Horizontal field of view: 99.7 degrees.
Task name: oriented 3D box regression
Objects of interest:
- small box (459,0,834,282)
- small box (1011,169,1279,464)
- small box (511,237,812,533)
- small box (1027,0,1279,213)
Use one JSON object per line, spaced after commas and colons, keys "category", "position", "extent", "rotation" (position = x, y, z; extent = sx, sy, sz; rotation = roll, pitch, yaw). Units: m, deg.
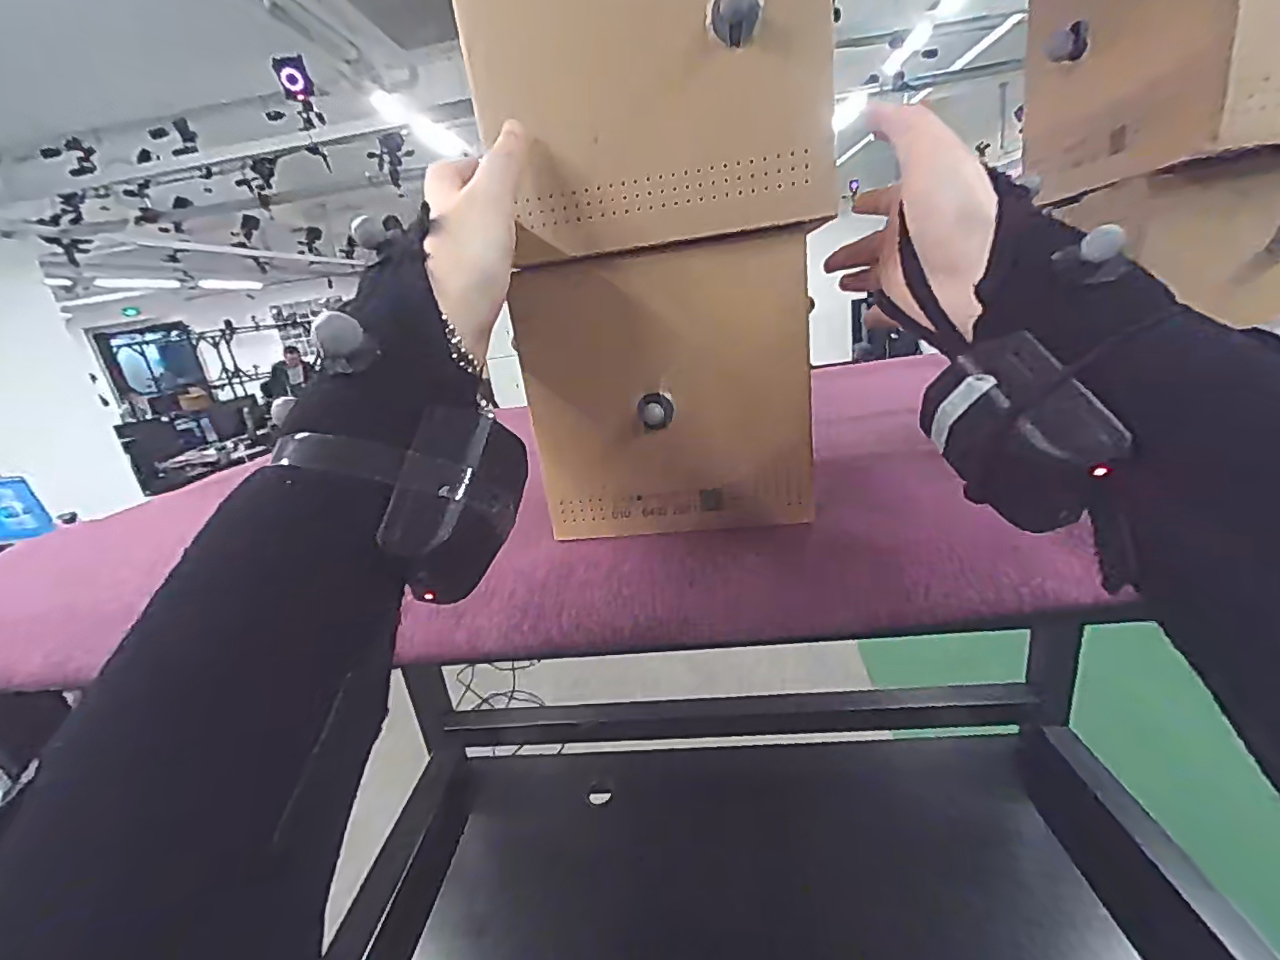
{"category": "small box", "position": [0.015, -0.216, 0.328], "extent": [0.179, 0.176, 0.168], "rotation": [-6, 18, 9]}
{"category": "small box", "position": [0.387, -0.113, 0.373], "extent": [0.179, 0.176, 0.168], "rotation": [-4, 17, 13]}
{"category": "small box", "position": [0.027, -0.067, 0.393], "extent": [0.168, 0.176, 0.179], "rotation": [-4, 18, 9]}
{"category": "small box", "position": [0.360, -0.262, 0.313], "extent": [0.179, 0.176, 0.168], "rotation": [-6, 17, 9]}
